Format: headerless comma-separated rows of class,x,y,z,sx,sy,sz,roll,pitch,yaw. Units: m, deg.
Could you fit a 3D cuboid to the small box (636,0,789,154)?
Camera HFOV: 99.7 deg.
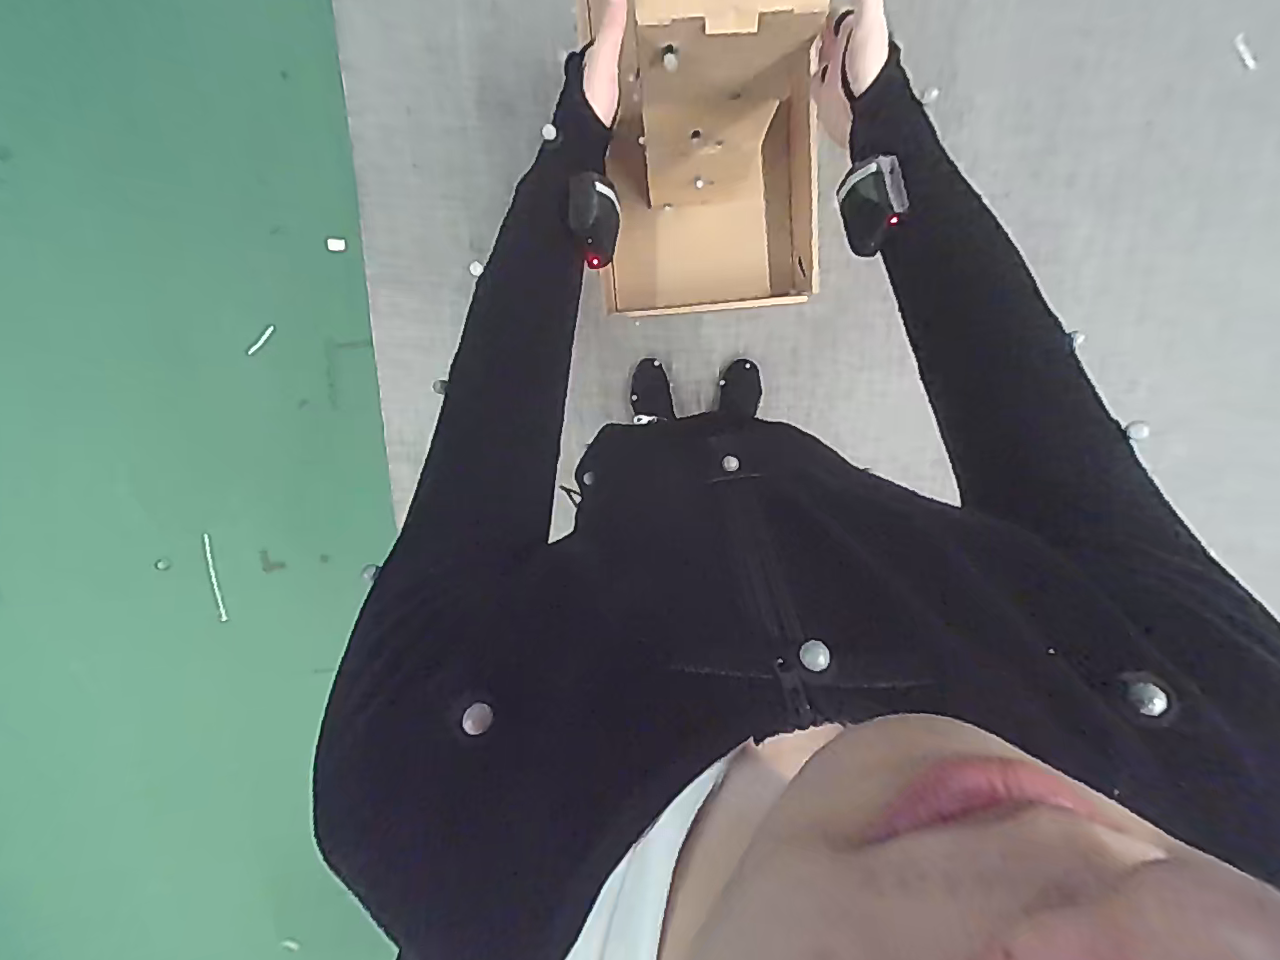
small box,0.081,-0.535,0.669,0.168,0.176,0.179,-4,103,3

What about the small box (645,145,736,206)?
small box,0.094,-0.614,0.986,0.168,0.176,0.179,-3,102,3

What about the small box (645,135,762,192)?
small box,0.089,-0.567,0.828,0.168,0.176,0.179,-4,103,4
